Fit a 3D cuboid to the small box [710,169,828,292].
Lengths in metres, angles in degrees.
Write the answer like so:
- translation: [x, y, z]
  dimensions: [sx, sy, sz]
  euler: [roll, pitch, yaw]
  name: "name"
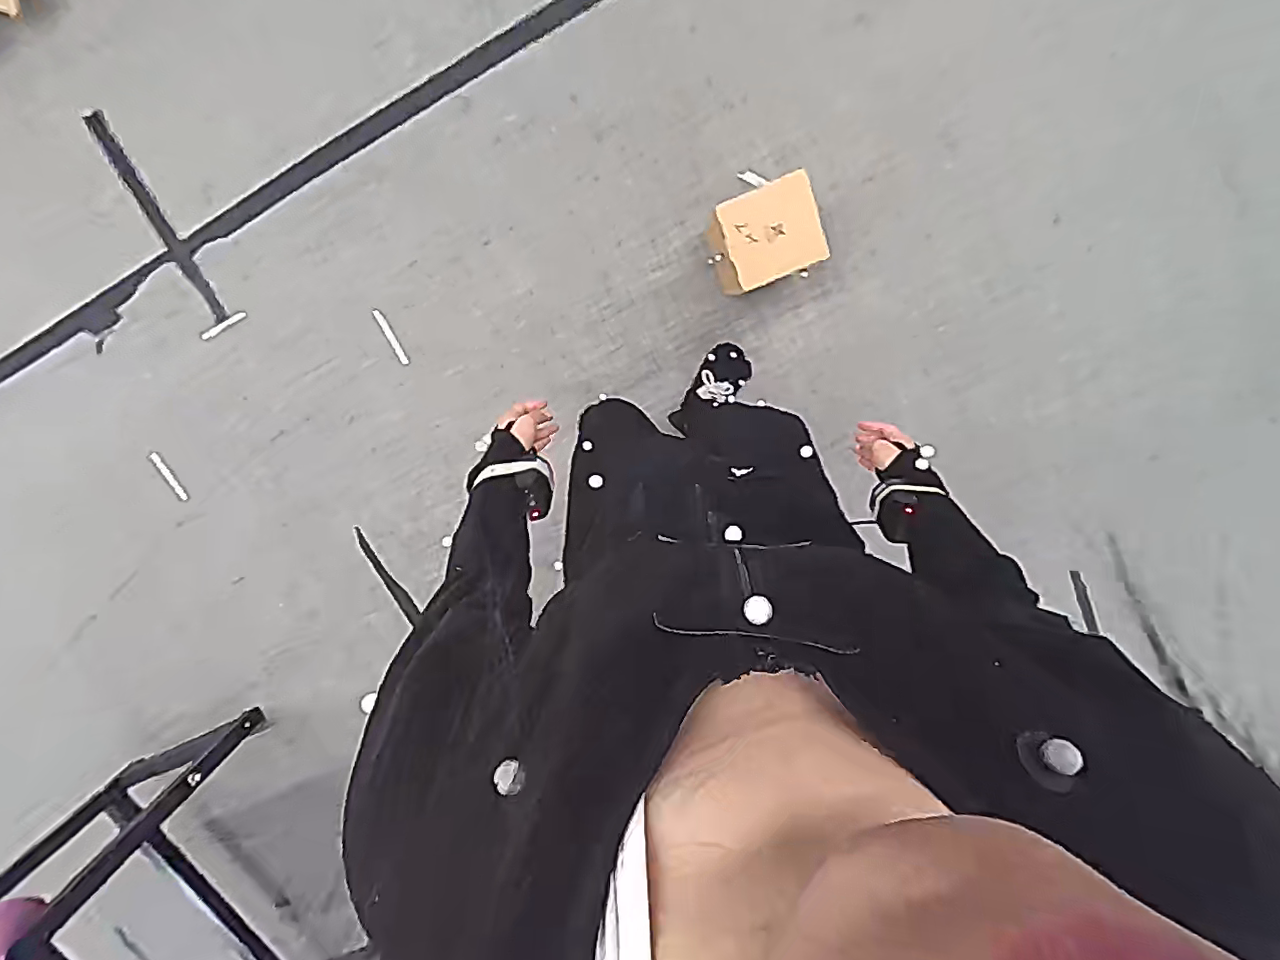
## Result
- translation: [0.252, -0.492, 1.090]
  dimensions: [0.179, 0.176, 0.168]
  euler: [-20, 105, 9]
  name: "small box"
